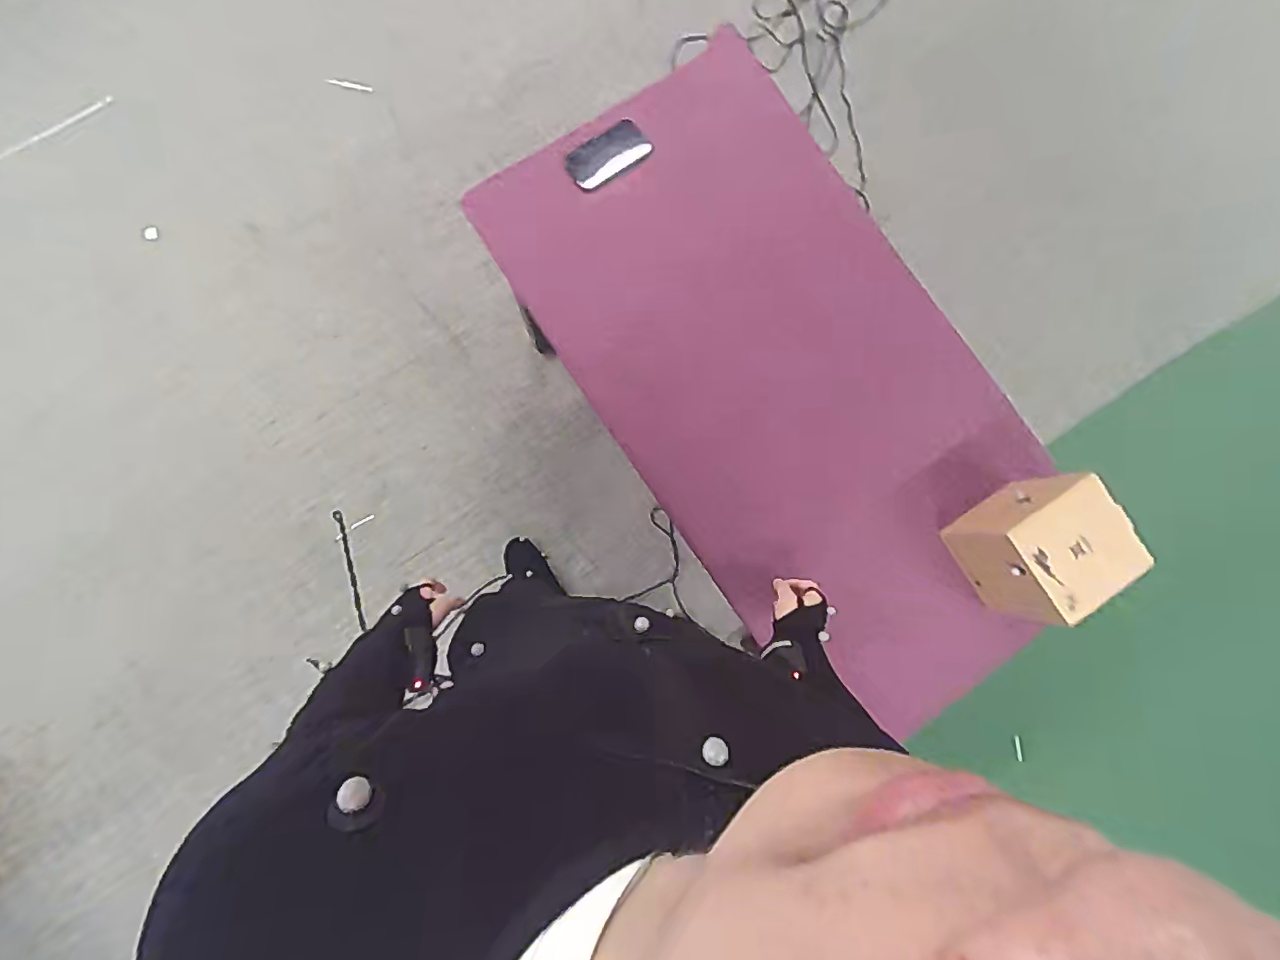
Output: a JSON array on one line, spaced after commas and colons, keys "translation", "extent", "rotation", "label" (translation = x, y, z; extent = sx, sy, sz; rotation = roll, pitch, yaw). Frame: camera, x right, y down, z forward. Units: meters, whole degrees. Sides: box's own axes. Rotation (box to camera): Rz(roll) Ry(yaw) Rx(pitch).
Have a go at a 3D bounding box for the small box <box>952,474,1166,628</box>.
[{"translation": [0.656, 0.110, 0.869], "extent": [0.179, 0.176, 0.168], "rotation": [-32, 86, -6], "label": "small box"}]
